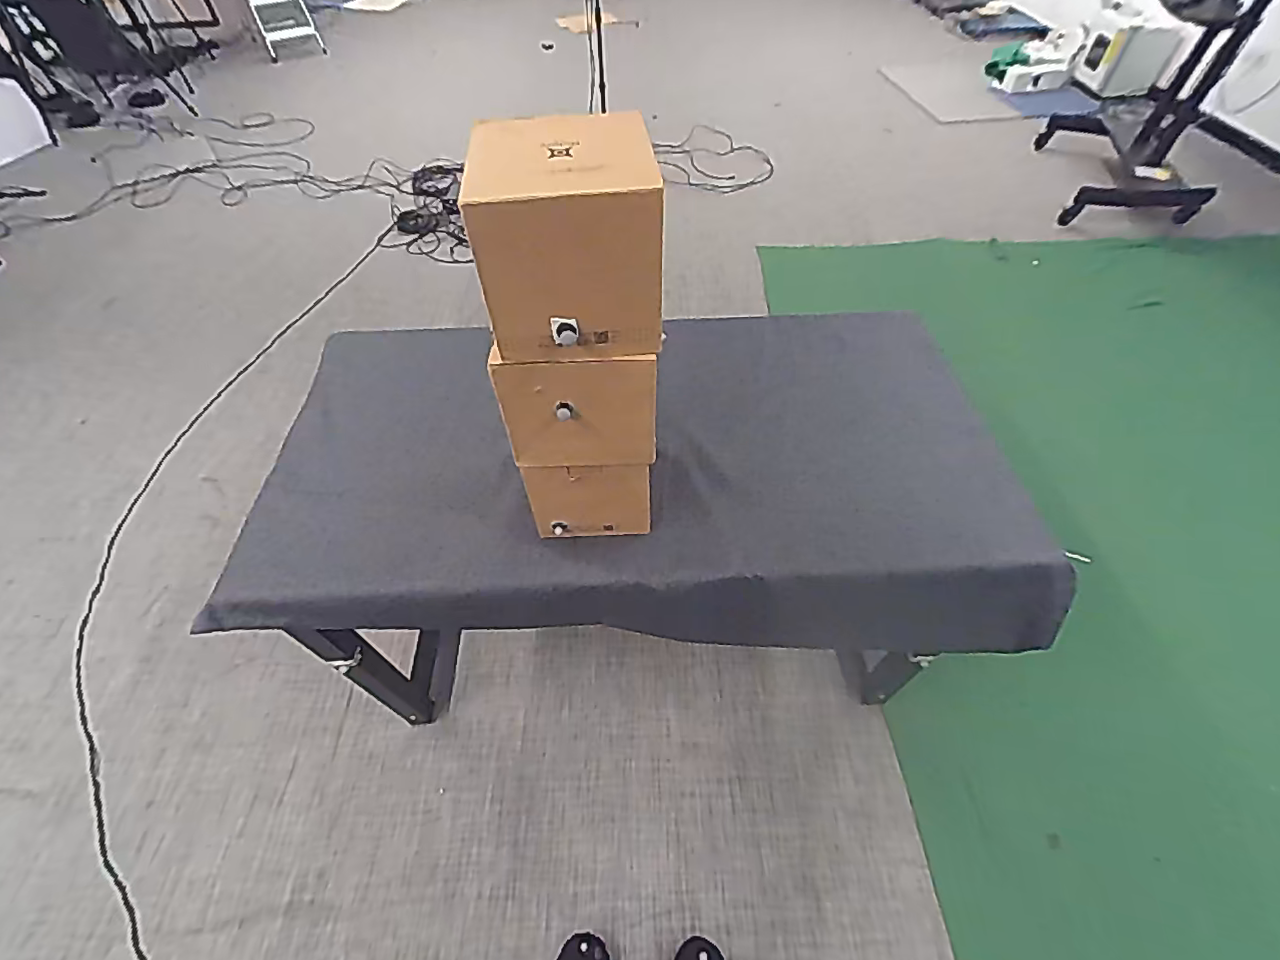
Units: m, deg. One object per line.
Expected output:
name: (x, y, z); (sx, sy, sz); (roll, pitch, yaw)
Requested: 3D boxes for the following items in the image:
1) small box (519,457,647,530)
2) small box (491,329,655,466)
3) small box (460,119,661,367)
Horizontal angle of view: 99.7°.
small box: (-0.075, -0.035, 0.806); (0.168, 0.176, 0.179); (-2, 50, -1)
small box: (-0.074, -0.131, 0.677); (0.179, 0.176, 0.168); (-3, 49, -3)
small box: (-0.072, -0.239, 0.551); (0.168, 0.176, 0.179); (-7, 52, -3)
